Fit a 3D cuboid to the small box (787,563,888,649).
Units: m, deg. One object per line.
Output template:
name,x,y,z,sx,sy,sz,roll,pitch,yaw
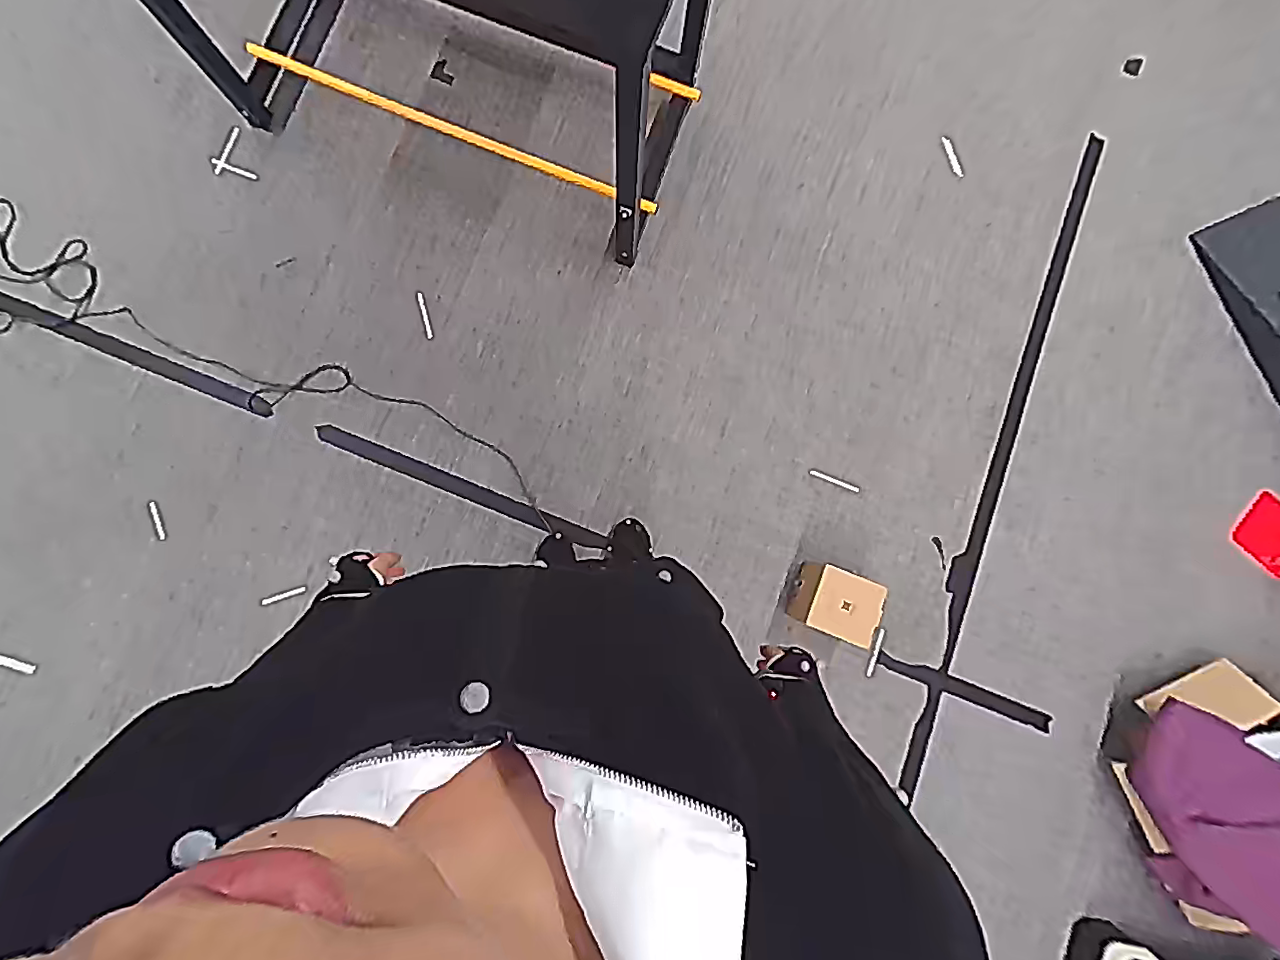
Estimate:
small box,0.520,0.327,1.443,0.179,0.176,0.168,21,83,1
